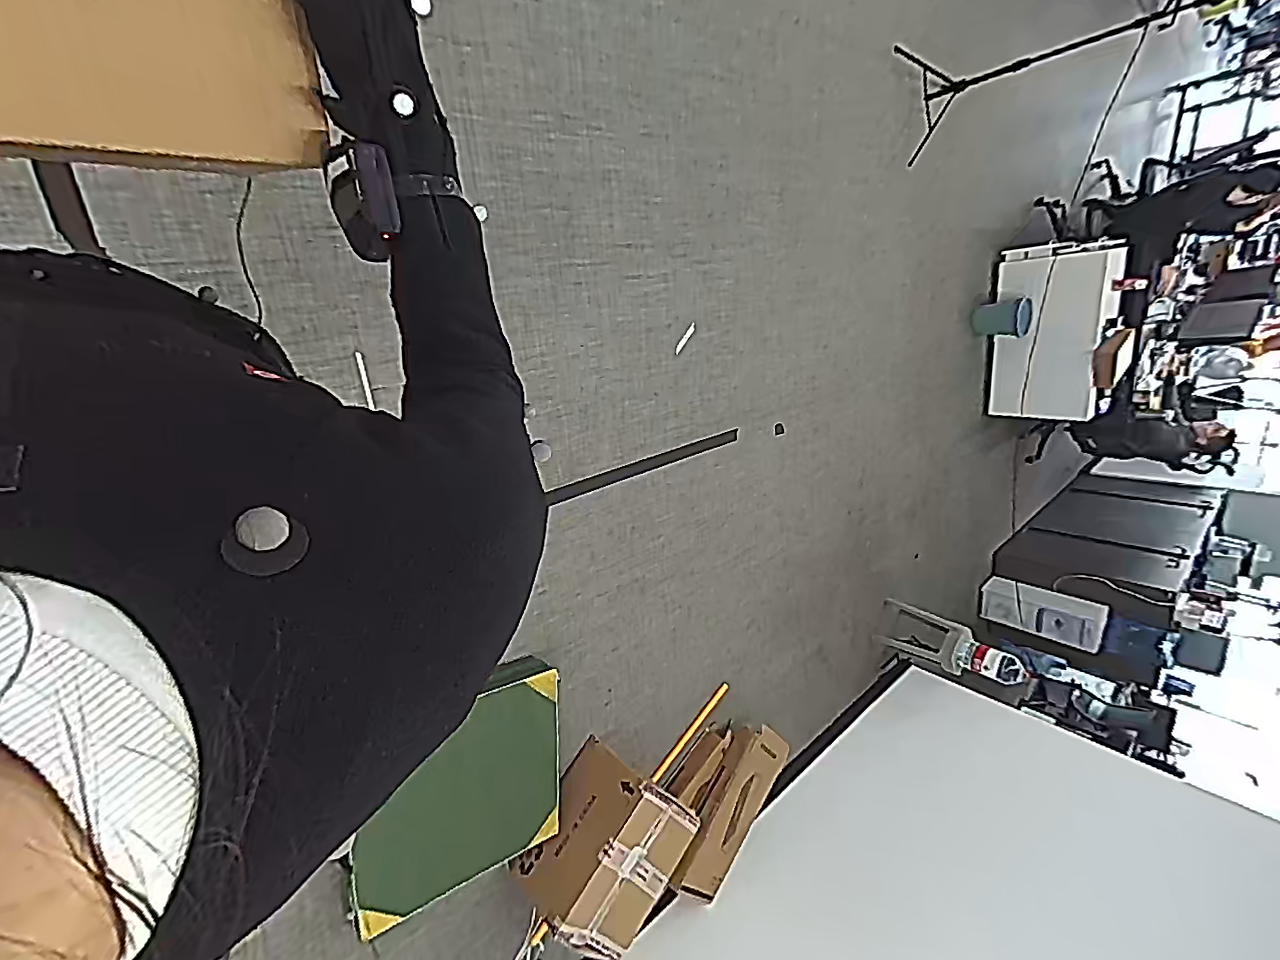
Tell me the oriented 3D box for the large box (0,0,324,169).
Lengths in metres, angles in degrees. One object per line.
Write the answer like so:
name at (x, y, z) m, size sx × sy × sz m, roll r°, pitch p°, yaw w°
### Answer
large box at (-0.473, -0.374, 0.315) m, size 0.408 × 0.320 × 0.320 m, roll -18°, pitch 125°, yaw -36°
